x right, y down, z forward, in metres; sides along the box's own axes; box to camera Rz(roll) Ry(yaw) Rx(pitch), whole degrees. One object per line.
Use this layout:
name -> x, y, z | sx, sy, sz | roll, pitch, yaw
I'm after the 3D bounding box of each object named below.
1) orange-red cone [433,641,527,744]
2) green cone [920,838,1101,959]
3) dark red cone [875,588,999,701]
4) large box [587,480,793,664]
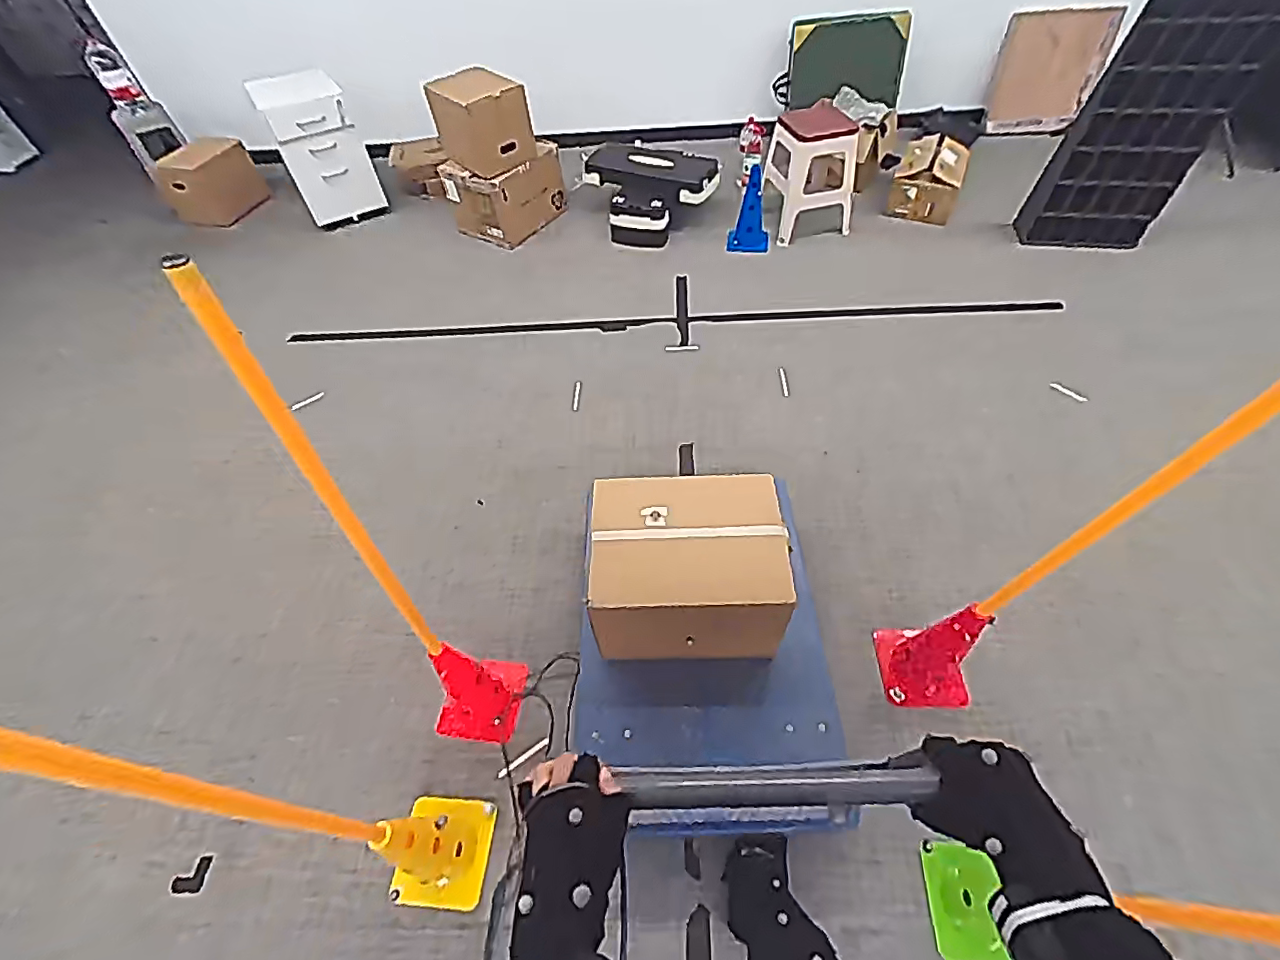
orange-red cone -> -0.414, 0.463, 1.274 | 0.198, 0.360, 0.199 | 5, 51, 7
green cone -> 0.687, 0.753, 0.969 | 0.202, 0.368, 0.200 | 3, 52, 4
dark red cone -> 0.715, 0.360, 1.253 | 0.201, 0.394, 0.202 | 0, 52, 2
large box -> 0.104, 0.221, 1.245 | 0.408, 0.320, 0.320 | -2, 53, 3
